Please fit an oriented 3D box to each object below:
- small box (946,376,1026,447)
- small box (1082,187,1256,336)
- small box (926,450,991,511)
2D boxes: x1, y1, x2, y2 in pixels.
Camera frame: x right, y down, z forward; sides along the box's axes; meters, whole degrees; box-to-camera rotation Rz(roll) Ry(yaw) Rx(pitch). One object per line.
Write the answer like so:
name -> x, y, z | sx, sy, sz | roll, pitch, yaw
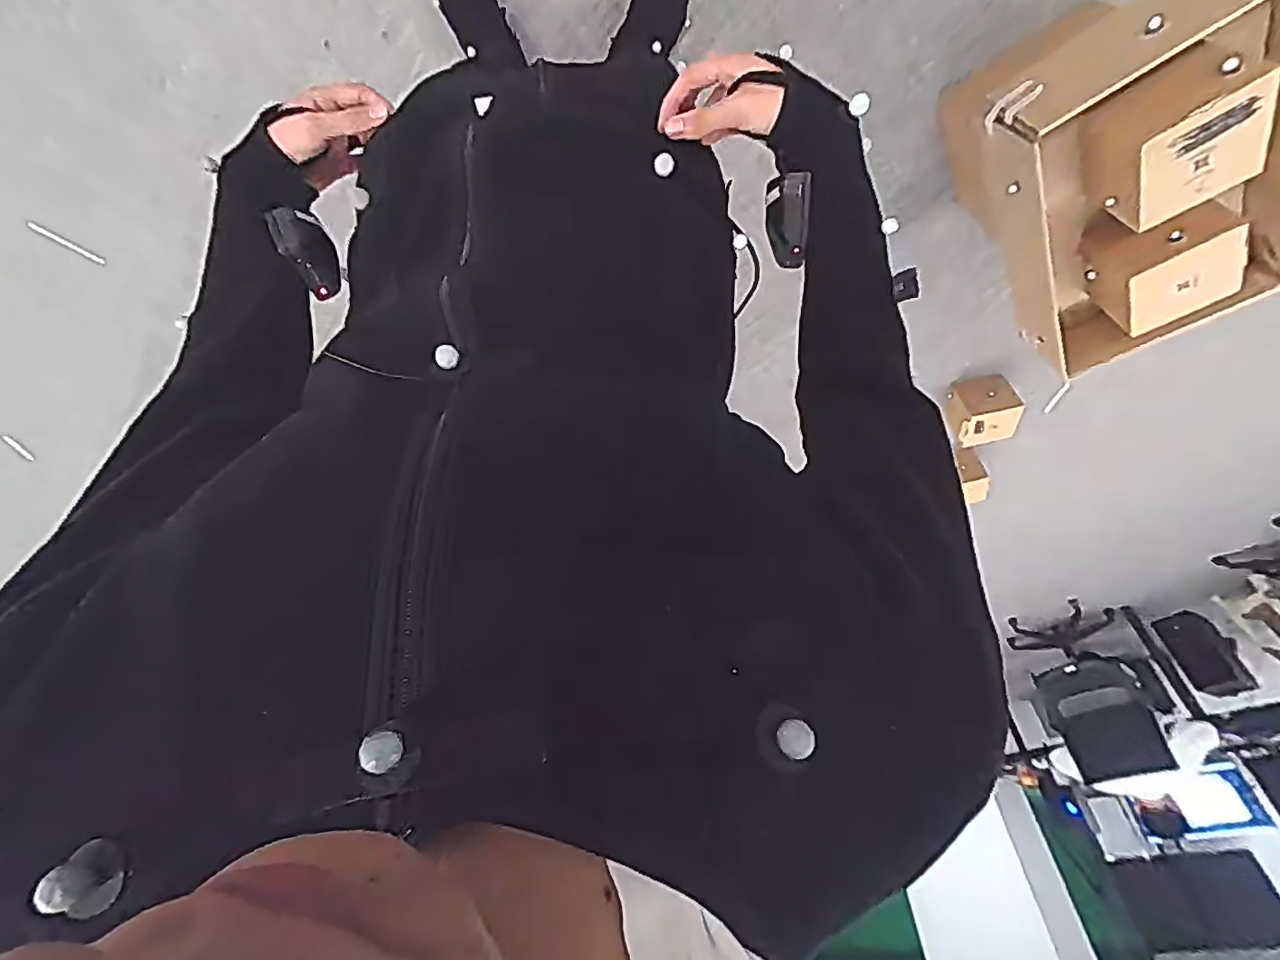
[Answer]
small box -> 1.227, -0.247, 1.936 | 0.179, 0.176, 0.168 | -11, 140, 9
small box -> 1.009, -0.425, 1.047 | 0.179, 0.176, 0.168 | -29, 133, 23
small box -> 1.311, -0.002, 2.236 | 0.179, 0.176, 0.168 | -16, 138, 14
